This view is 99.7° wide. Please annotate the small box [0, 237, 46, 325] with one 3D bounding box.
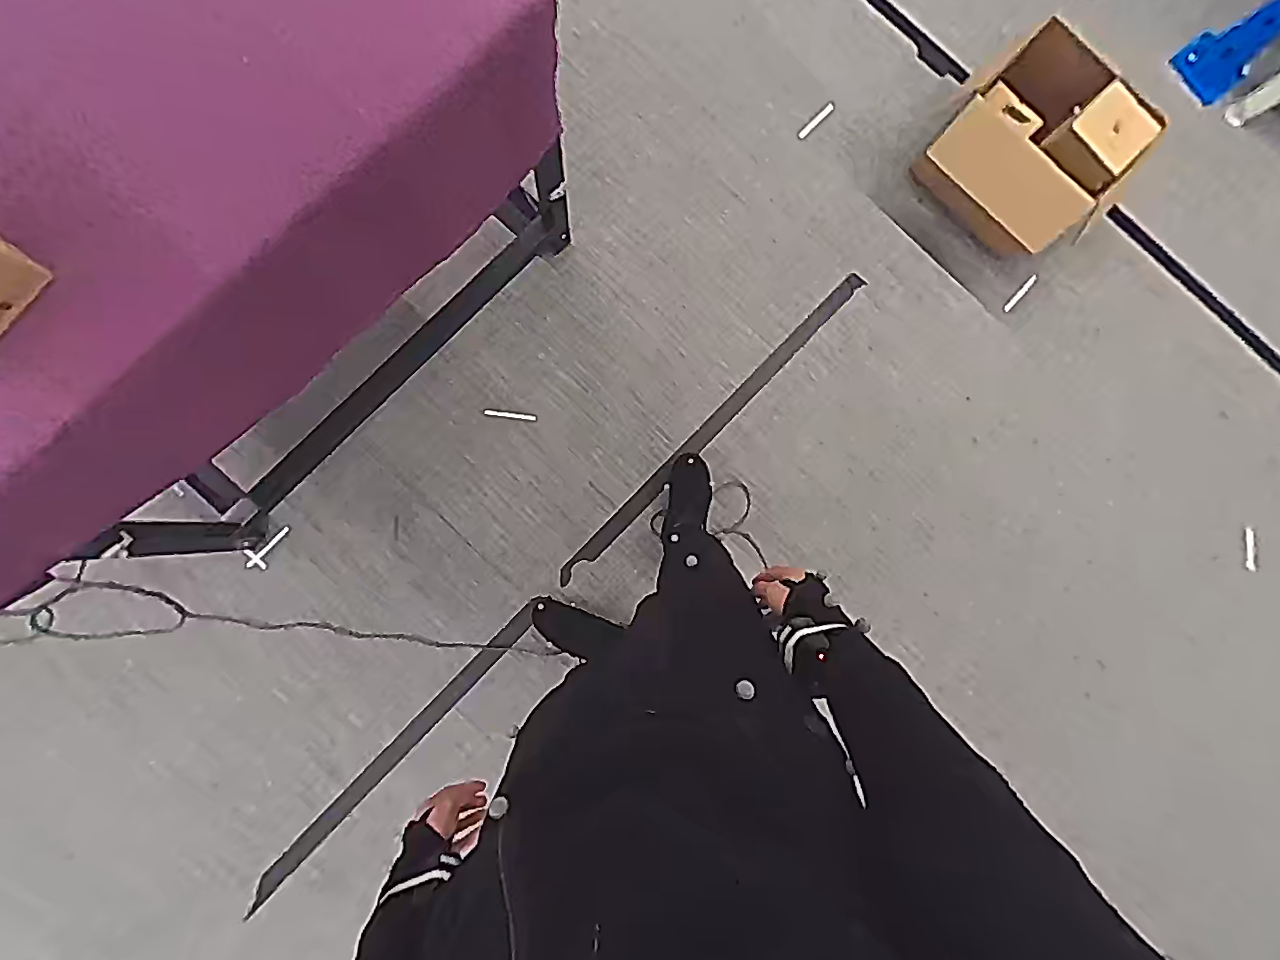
[{"bbox_3d":[-0.871,-0.258,0.616,0.179,0.176,0.168,35,83,0],"label":"small box"}]
